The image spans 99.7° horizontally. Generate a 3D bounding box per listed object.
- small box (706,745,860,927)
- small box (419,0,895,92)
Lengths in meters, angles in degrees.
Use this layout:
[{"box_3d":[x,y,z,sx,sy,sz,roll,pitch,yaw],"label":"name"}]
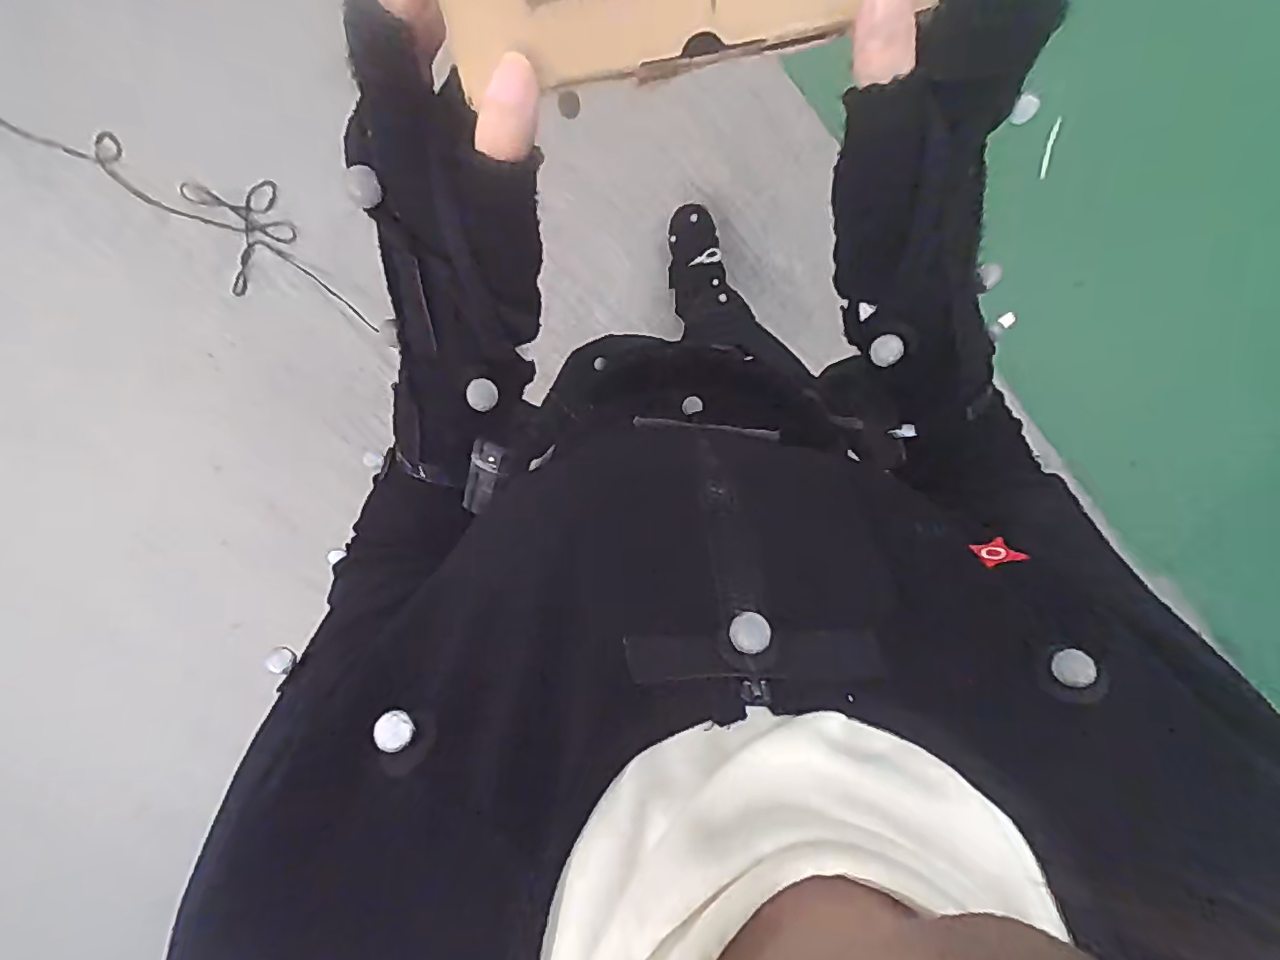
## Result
[{"box_3d":[0.235,0.604,0.933,0.179,0.176,0.168,43,102,-11],"label":"small box"},{"box_3d":[-0.007,-0.264,0.198,0.168,0.176,0.179,-11,126,2],"label":"small box"}]
